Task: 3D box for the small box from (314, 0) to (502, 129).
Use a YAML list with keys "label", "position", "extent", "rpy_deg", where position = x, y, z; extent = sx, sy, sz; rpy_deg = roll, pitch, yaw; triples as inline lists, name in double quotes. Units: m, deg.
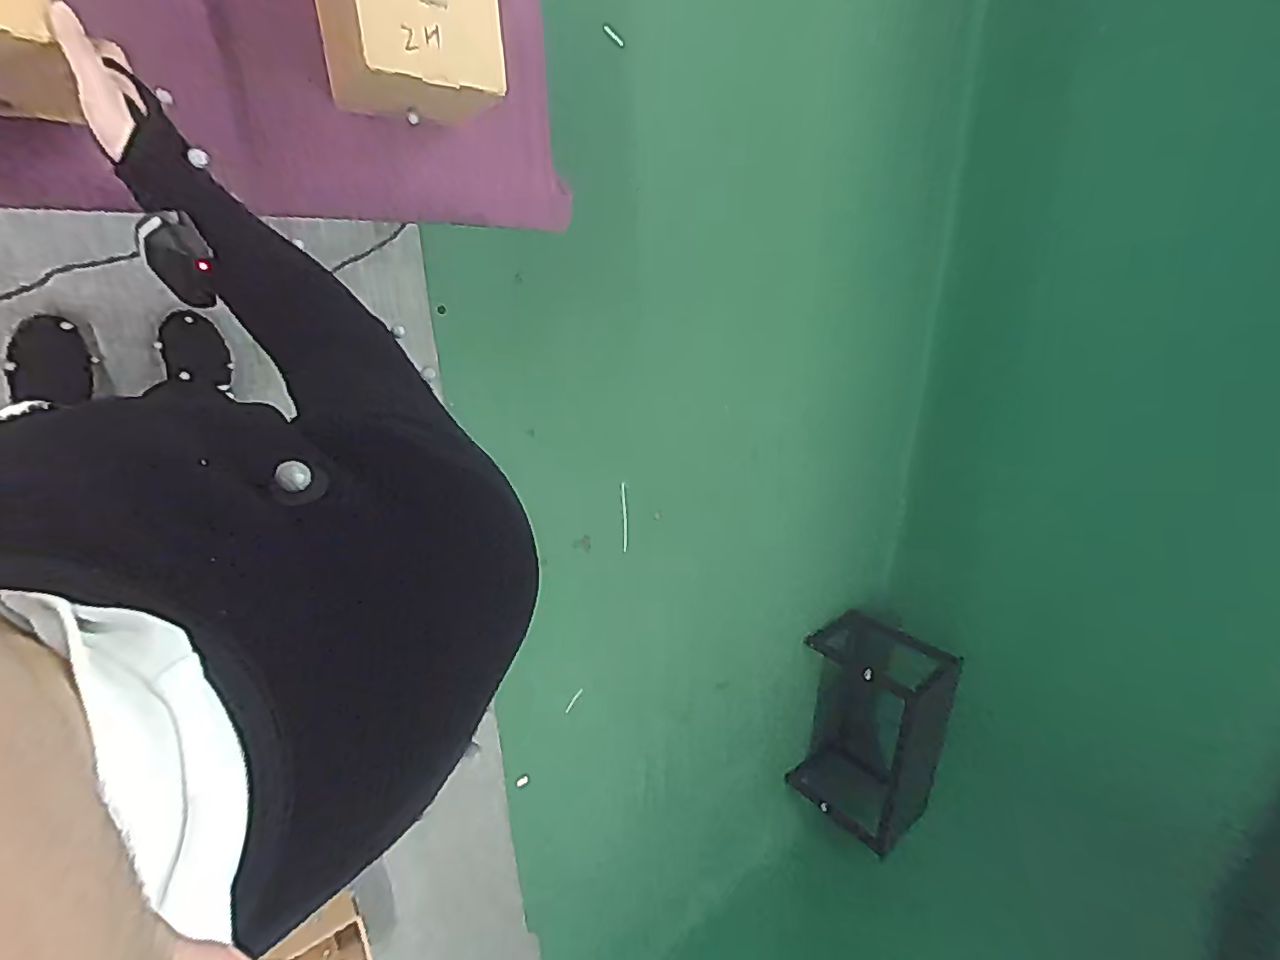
- label: "small box"
  position: [-0.287, -0.559, 0.657]
  extent: [0.168, 0.176, 0.179]
  rpy_deg: [-15, 113, -35]
